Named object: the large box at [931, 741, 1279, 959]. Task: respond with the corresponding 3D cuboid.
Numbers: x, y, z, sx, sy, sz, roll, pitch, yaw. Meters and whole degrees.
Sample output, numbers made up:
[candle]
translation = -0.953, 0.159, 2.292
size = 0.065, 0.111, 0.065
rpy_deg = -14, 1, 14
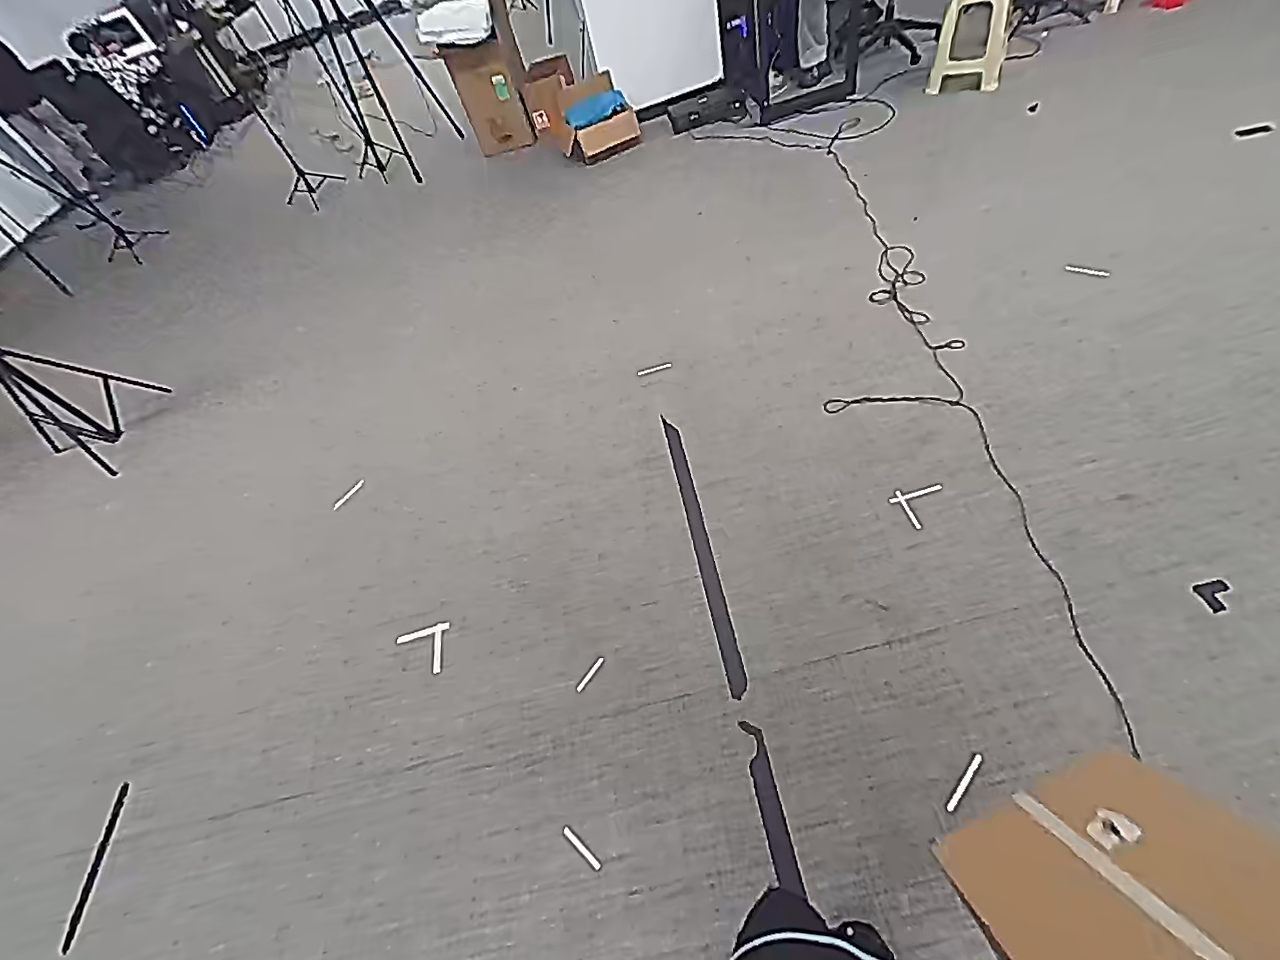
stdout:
[large box]
translation = 0.643, 0.590, 0.618
size = 0.320, 0.408, 0.320
rpy_deg = -31, 85, 1
